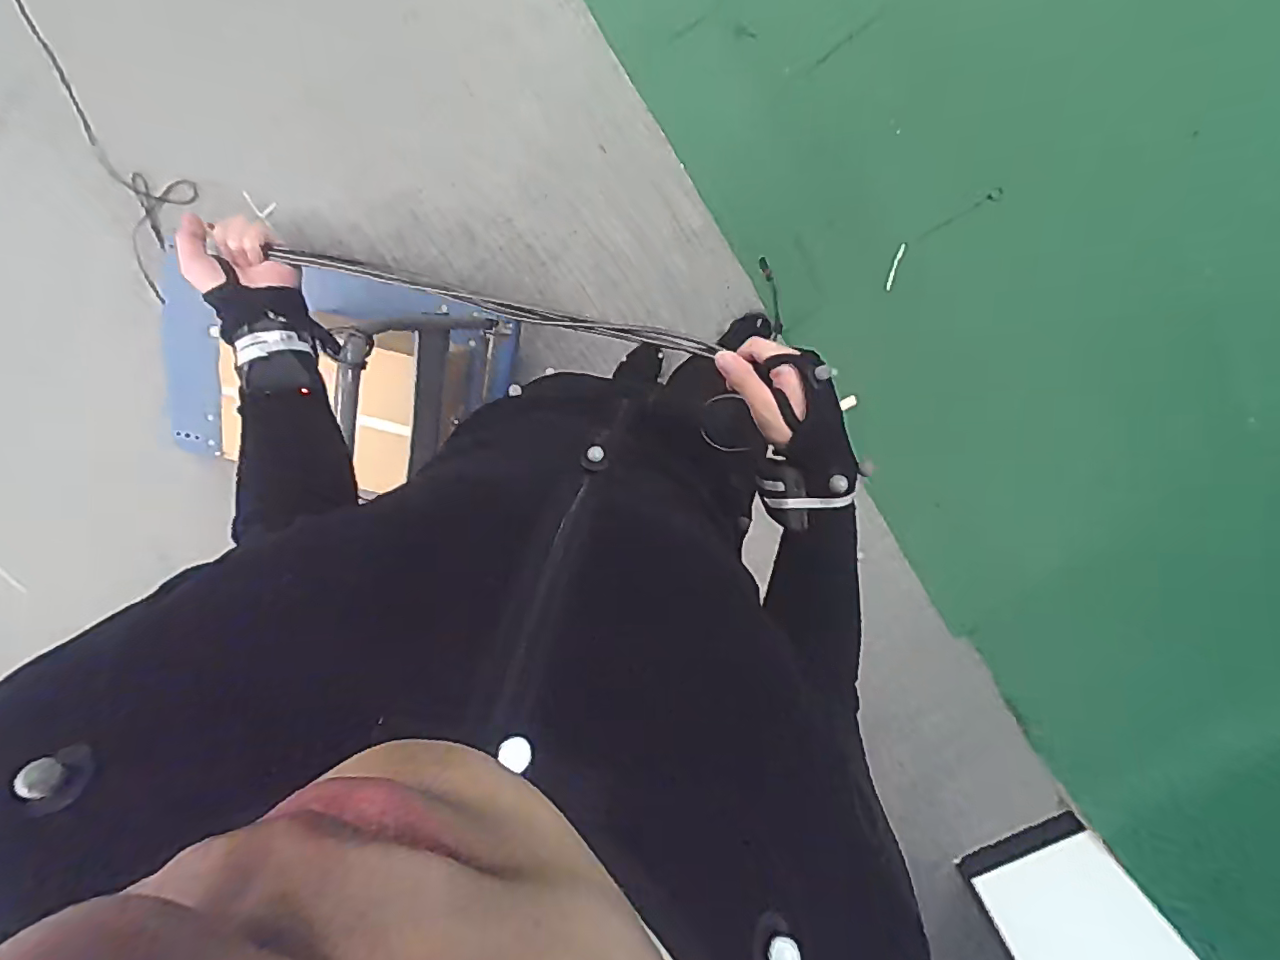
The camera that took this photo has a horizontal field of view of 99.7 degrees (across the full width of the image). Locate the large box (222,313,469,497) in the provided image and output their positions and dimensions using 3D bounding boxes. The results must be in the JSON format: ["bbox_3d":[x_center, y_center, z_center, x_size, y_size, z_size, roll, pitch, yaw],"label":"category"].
[{"bbox_3d":[-0.651,-0.188,1.252,0.408,0.320,0.320,13,107,-2],"label":"large box"}]
